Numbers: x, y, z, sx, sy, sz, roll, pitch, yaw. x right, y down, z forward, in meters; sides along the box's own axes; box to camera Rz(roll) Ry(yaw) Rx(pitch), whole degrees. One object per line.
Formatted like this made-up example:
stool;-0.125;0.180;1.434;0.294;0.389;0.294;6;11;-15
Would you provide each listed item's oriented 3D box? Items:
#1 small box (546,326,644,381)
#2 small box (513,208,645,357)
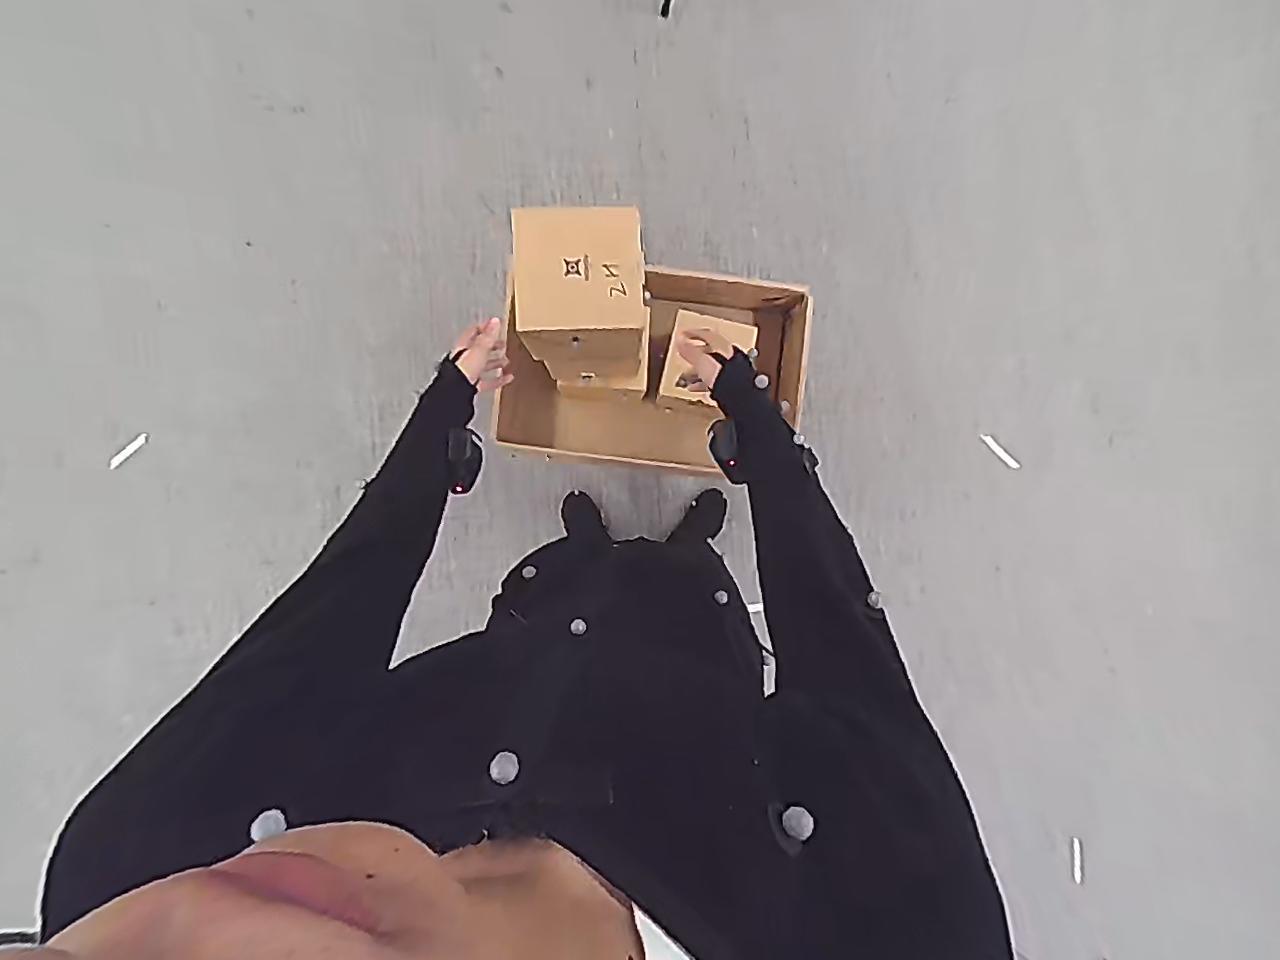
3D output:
small box;-0.082;-0.282;0.967;0.168;0.176;0.179;-2;90;-3
small box;-0.085;-0.281;0.803;0.179;0.176;0.168;-2;90;-3
